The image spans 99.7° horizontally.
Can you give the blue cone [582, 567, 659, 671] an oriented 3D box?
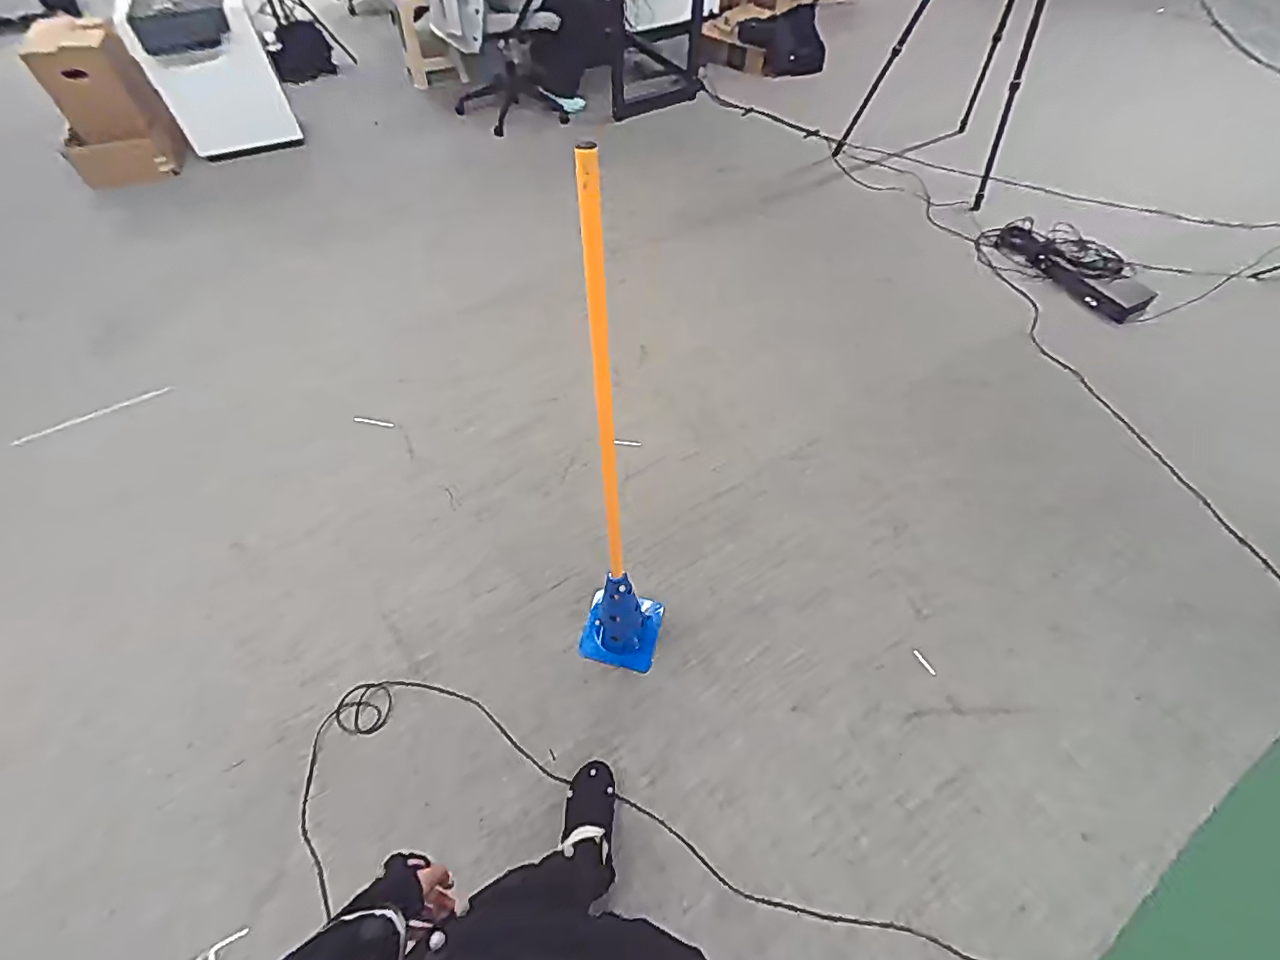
[{"bbox_3d":[-0.053,0.312,1.326,0.192,0.380,0.193,11,55,8],"label":"blue cone"}]
